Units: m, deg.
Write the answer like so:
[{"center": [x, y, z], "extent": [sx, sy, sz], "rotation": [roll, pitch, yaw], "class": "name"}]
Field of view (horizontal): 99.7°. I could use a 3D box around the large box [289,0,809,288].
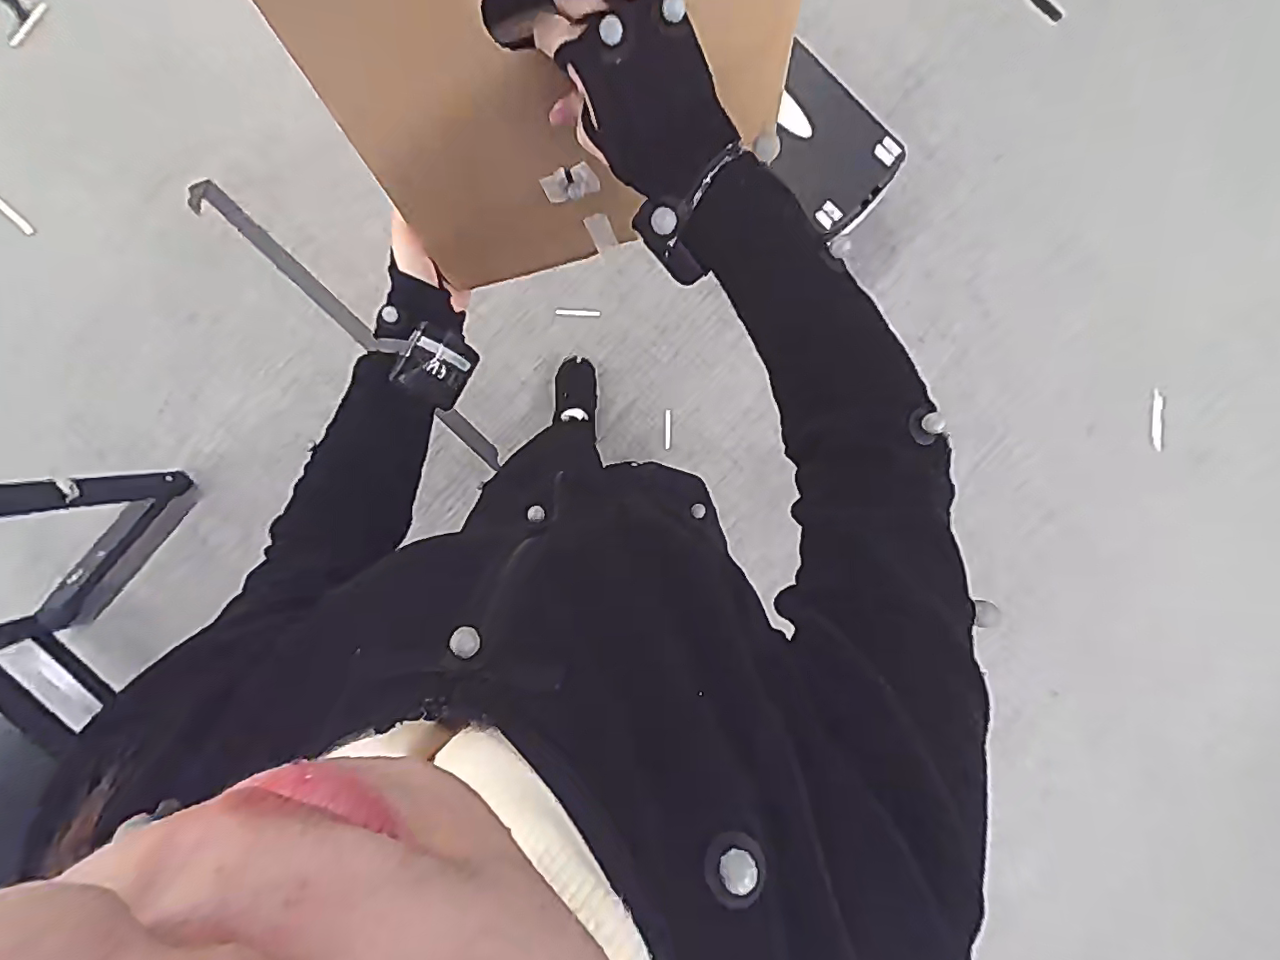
[{"center": [-0.085, -0.440, 0.428], "extent": [0.320, 0.320, 0.408], "rotation": [-15, 73, -1], "class": "large box"}]
